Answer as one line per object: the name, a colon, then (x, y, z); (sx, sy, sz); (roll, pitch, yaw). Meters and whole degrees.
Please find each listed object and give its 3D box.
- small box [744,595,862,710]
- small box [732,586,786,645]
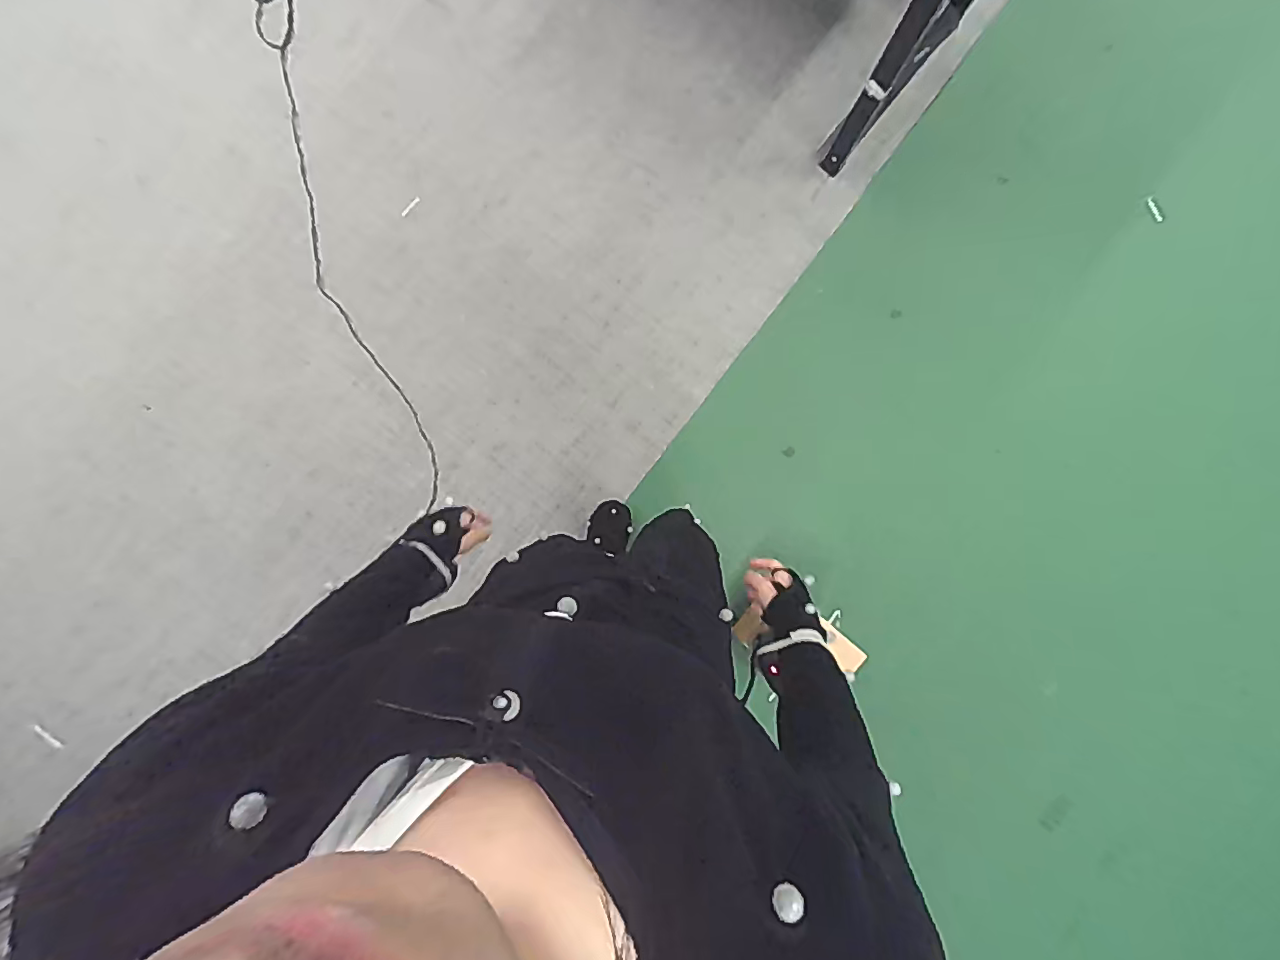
small box: (0.371, 0.391, 1.263); (0.179, 0.176, 0.168); (41, 88, 0)
small box: (0.366, 0.397, 1.428); (0.179, 0.176, 0.168); (38, 88, -1)
